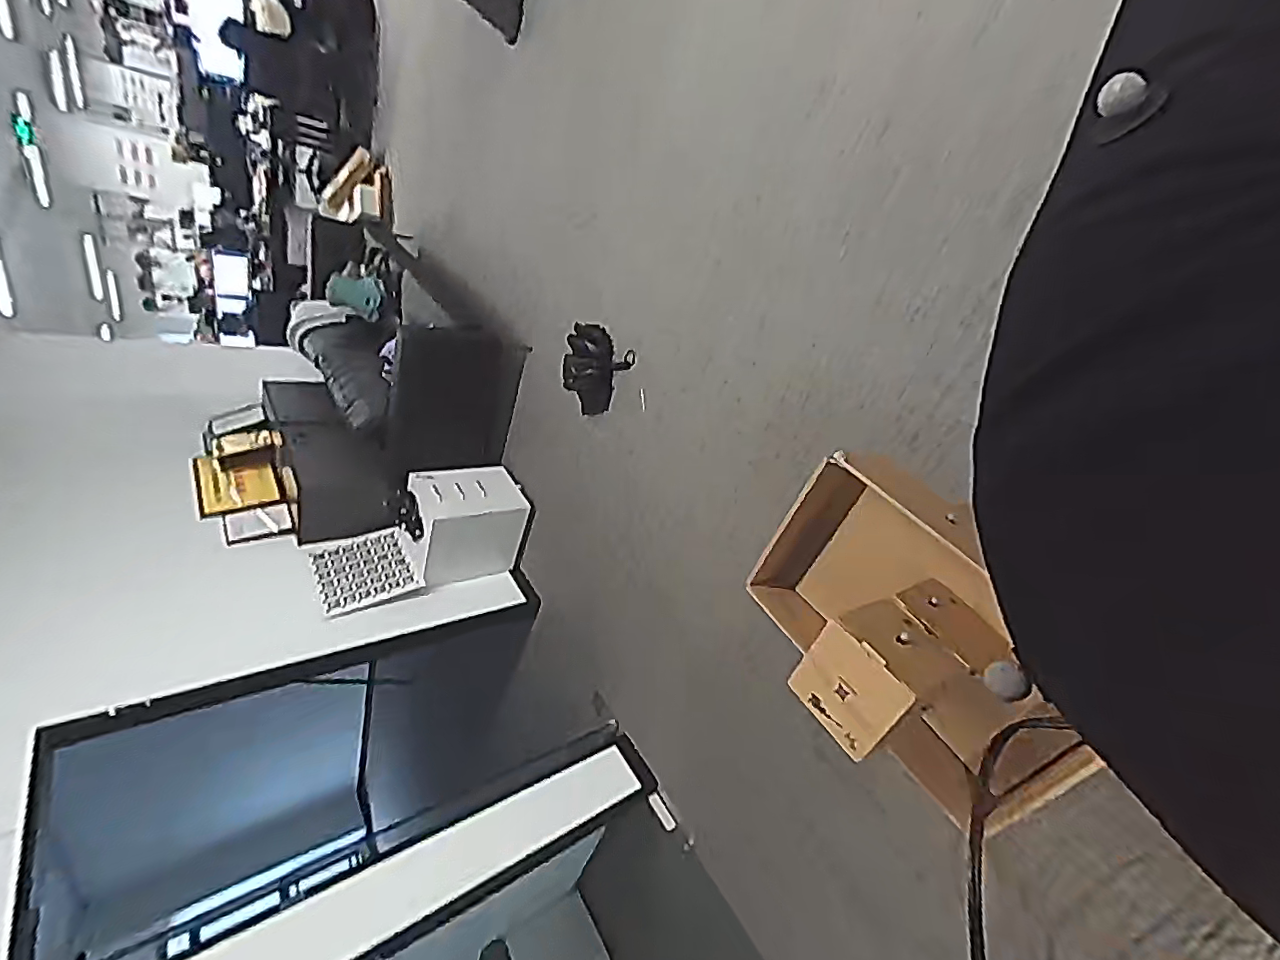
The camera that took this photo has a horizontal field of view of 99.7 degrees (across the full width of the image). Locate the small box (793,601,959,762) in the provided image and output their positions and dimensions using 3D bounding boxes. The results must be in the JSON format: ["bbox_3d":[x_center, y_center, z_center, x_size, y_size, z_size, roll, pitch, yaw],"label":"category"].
[{"bbox_3d":[0.404,0.330,0.920,0.168,0.176,0.179,48,129,39],"label":"small box"}]

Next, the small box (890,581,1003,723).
[{"bbox_3d":[0.538,0.313,1.013,0.168,0.176,0.179,50,133,38],"label":"small box"}]
